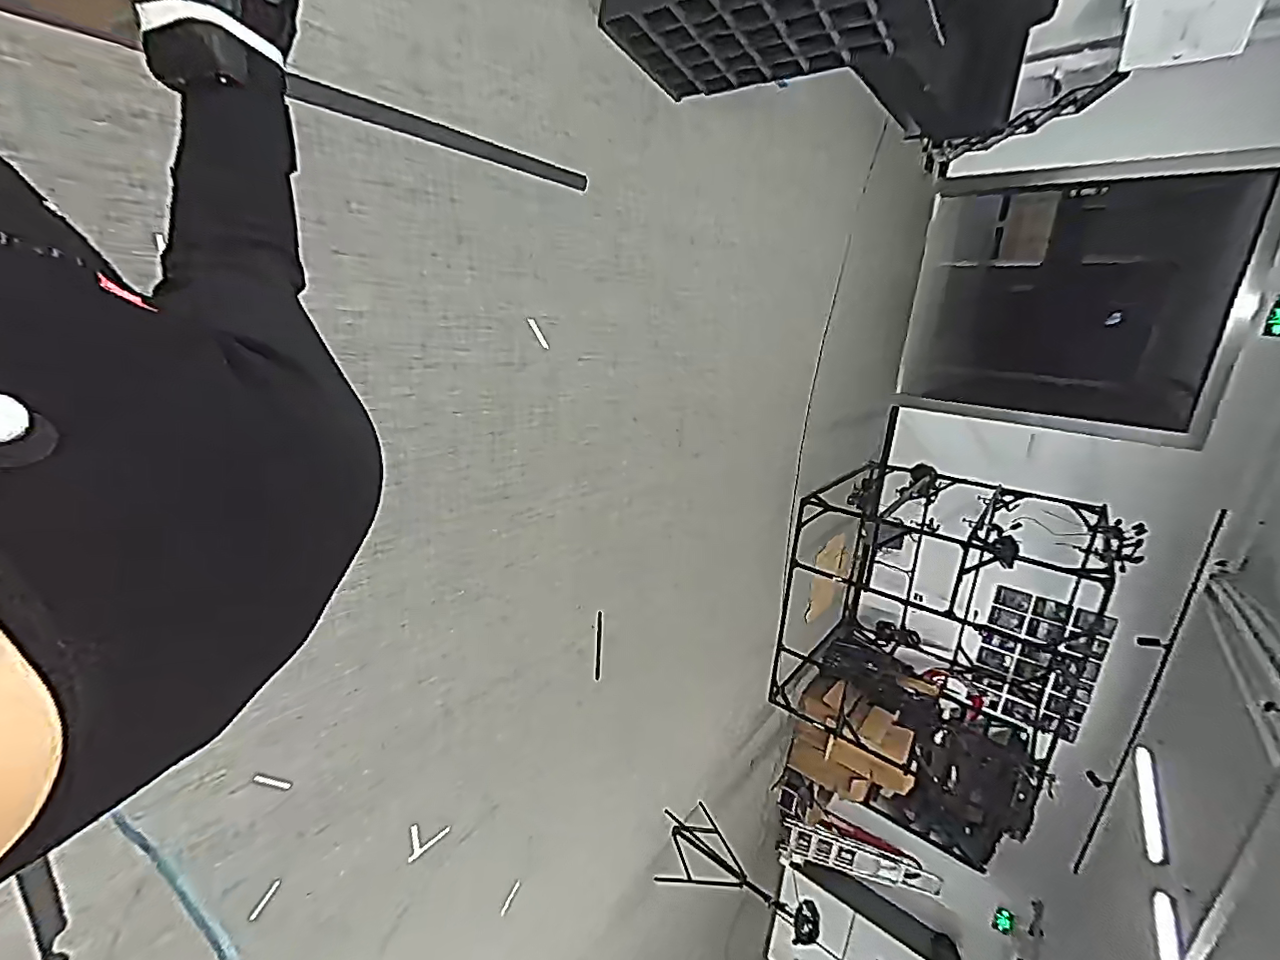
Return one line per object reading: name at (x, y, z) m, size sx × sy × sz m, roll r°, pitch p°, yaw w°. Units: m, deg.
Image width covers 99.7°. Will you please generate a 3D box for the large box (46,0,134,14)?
large box at (-0.520, -0.510, 0.256) m, size 0.408 × 0.320 × 0.320 m, roll -15°, pitch 125°, yaw -51°
